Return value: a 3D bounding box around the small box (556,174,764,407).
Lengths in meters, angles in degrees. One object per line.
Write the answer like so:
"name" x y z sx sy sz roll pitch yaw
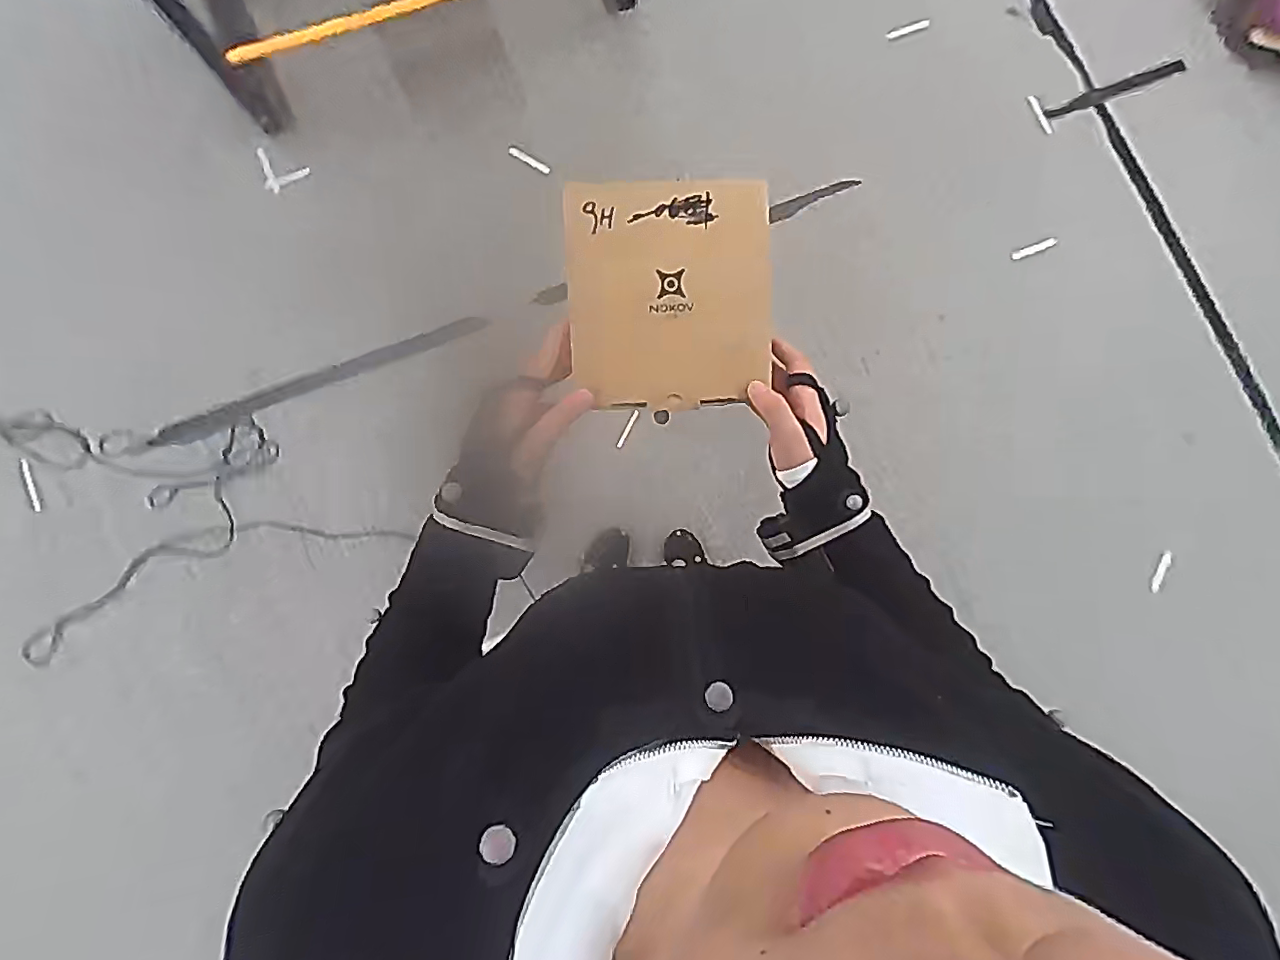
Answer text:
"small box" 0.016 -0.164 0.517 0.168 0.176 0.179 -4 98 -3
